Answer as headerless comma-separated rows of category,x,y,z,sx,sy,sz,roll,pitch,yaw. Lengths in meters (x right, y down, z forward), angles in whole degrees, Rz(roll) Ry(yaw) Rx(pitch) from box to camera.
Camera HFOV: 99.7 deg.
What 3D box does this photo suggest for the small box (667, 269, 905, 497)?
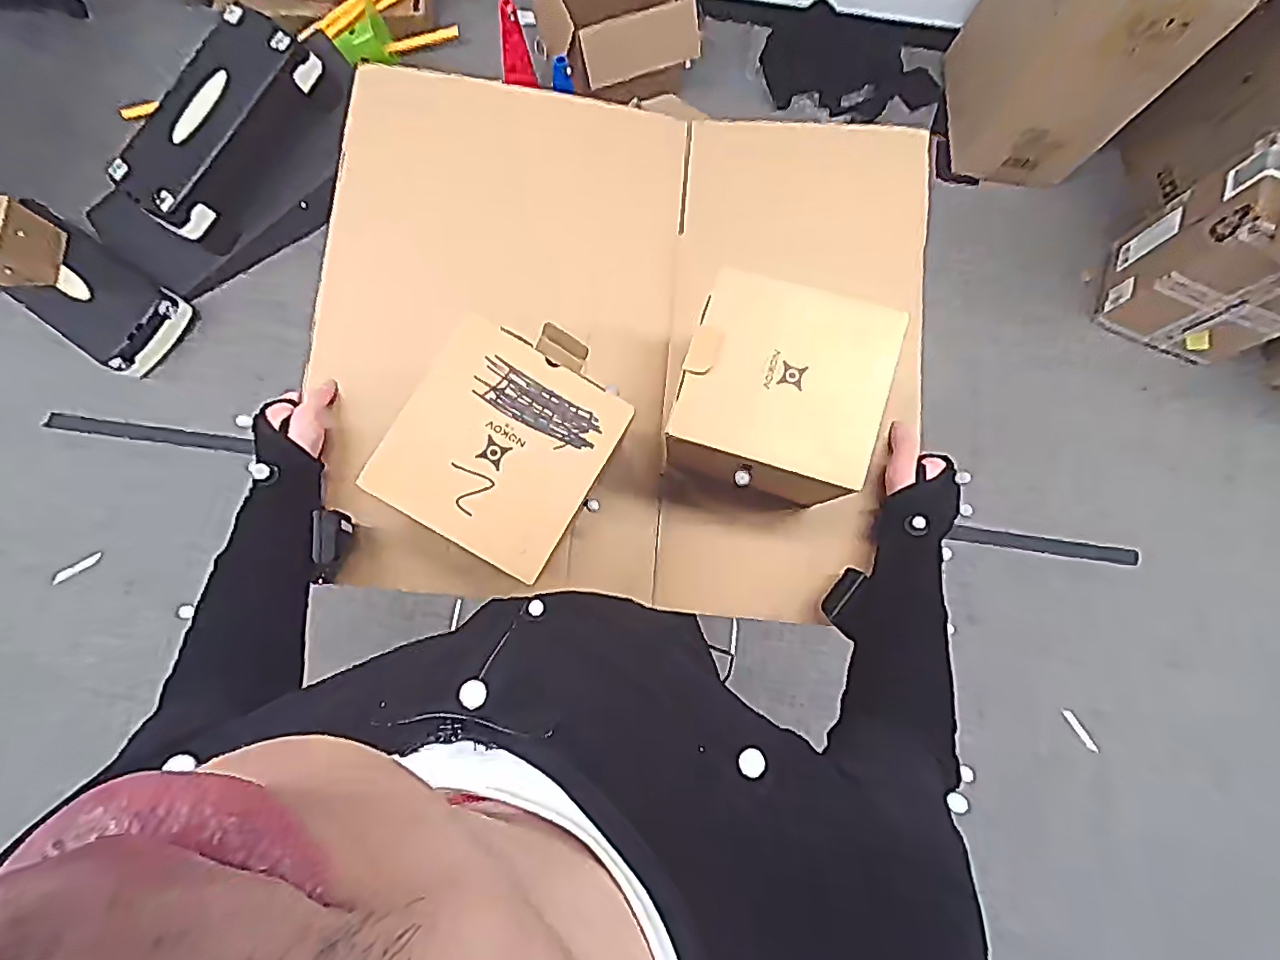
small box,0.136,-0.085,0.564,0.179,0.176,0.168,18,84,6
